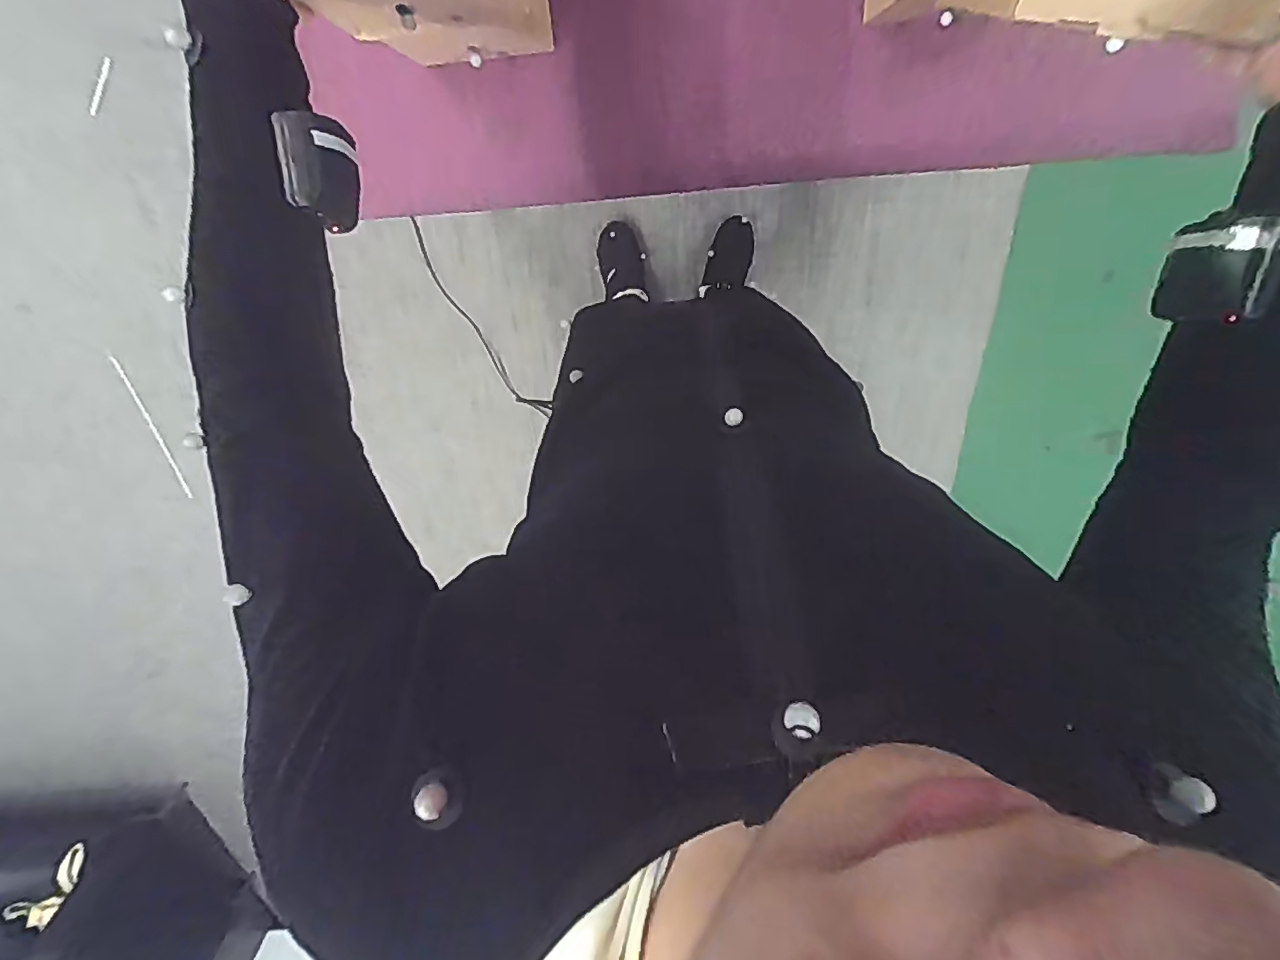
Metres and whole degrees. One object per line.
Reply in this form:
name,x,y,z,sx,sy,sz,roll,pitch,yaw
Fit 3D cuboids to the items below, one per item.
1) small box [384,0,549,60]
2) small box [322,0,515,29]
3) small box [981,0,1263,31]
small box,-0.195,-0.552,0.540,0.168,0.176,0.179,-3,118,3
small box,-0.200,-0.472,0.398,0.168,0.176,0.179,-4,118,3
small box,0.332,-0.423,0.354,0.168,0.176,0.179,7,134,2
